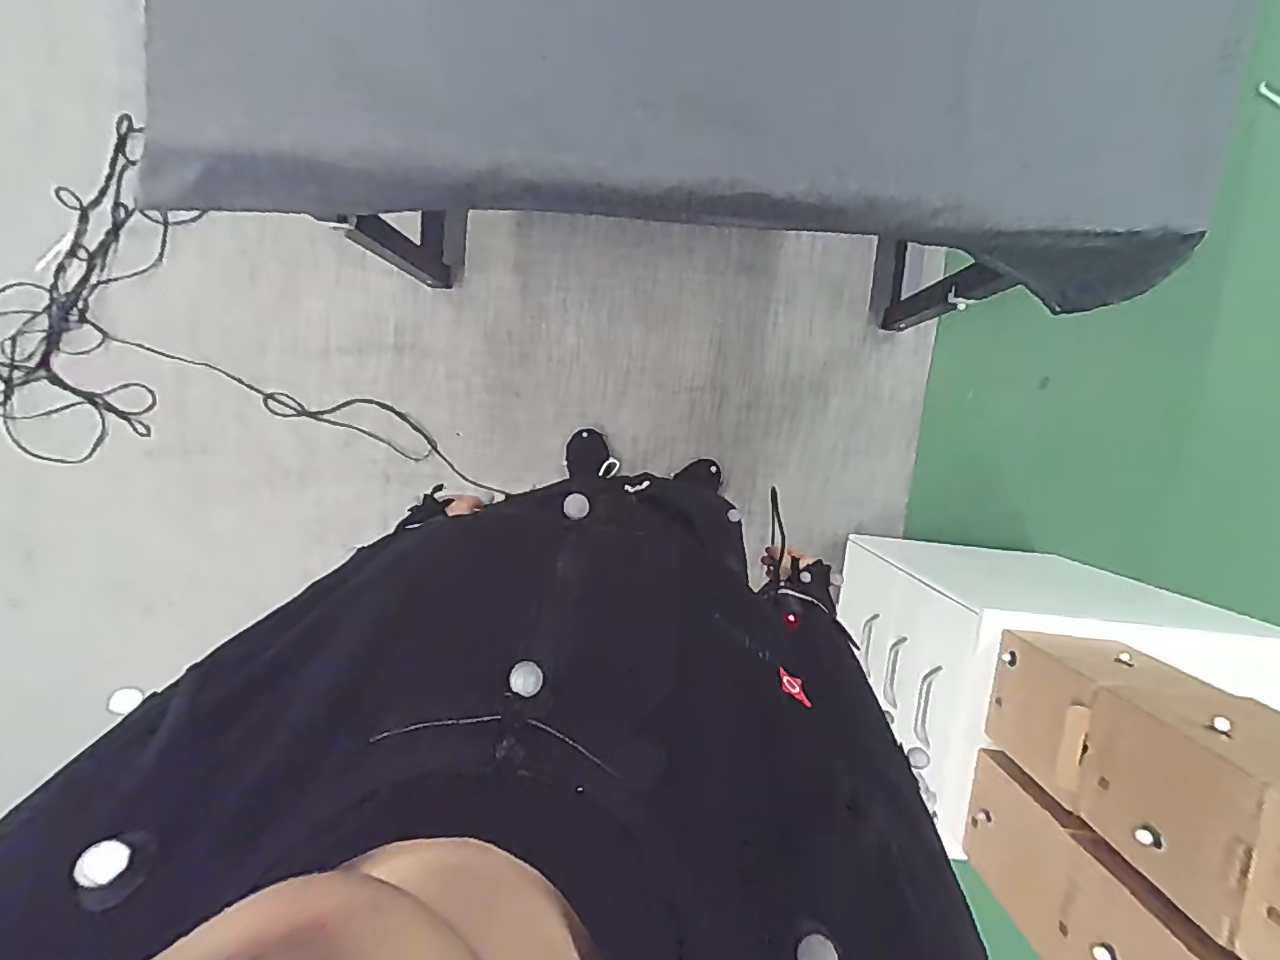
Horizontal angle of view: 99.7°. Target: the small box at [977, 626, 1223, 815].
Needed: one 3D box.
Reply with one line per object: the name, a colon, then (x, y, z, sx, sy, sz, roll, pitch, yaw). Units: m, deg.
small box: (0.593, 0.307, 0.724, 0.179, 0.176, 0.168, 6, 97, -1)
